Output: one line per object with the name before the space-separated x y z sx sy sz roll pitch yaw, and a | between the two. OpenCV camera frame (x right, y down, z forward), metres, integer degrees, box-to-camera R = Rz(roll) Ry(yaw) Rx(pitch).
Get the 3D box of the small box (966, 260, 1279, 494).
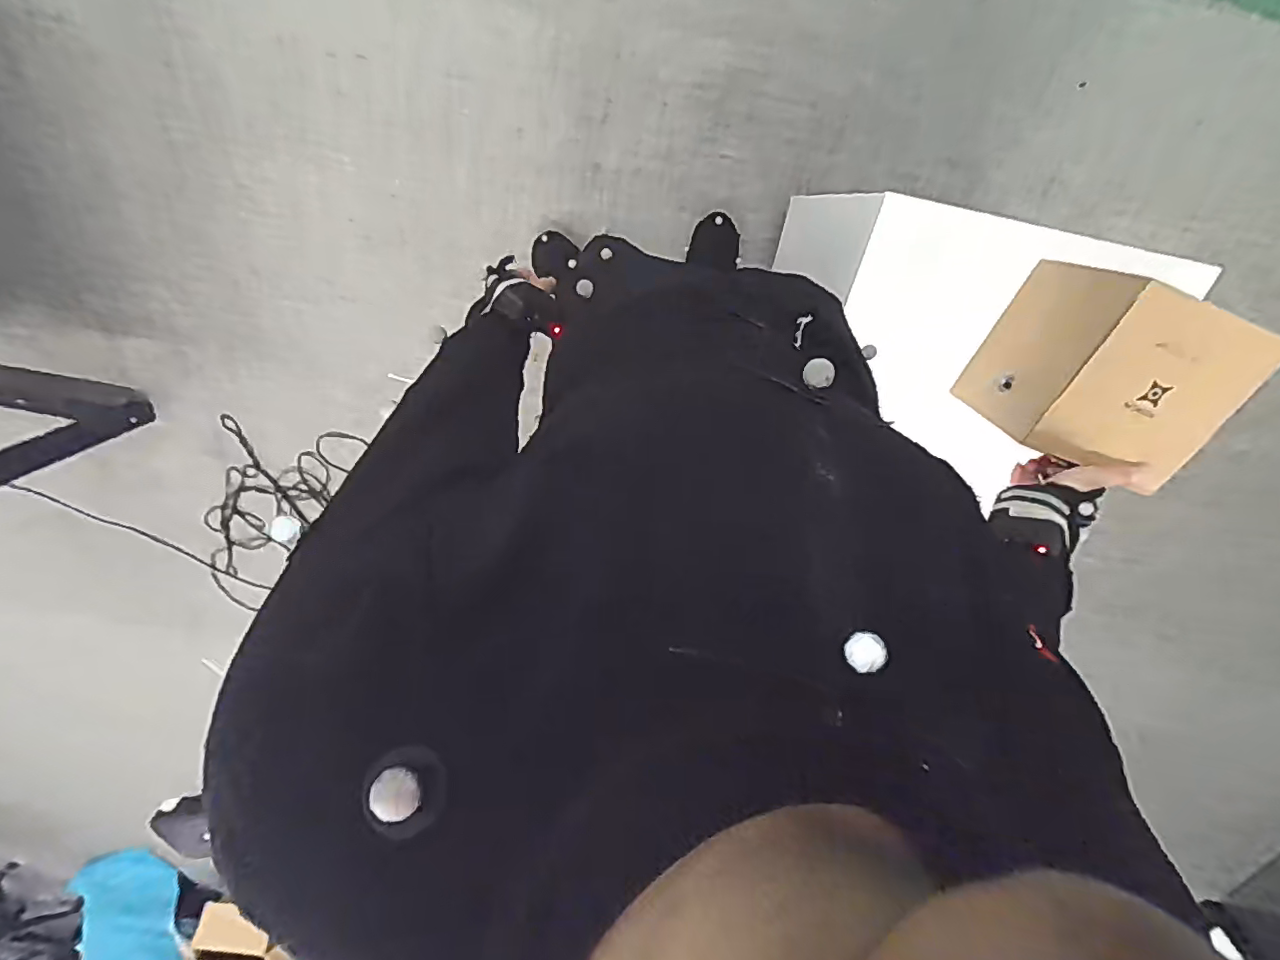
small box | 0.497 -0.118 0.587 0.168 0.176 0.179 20 116 -7
